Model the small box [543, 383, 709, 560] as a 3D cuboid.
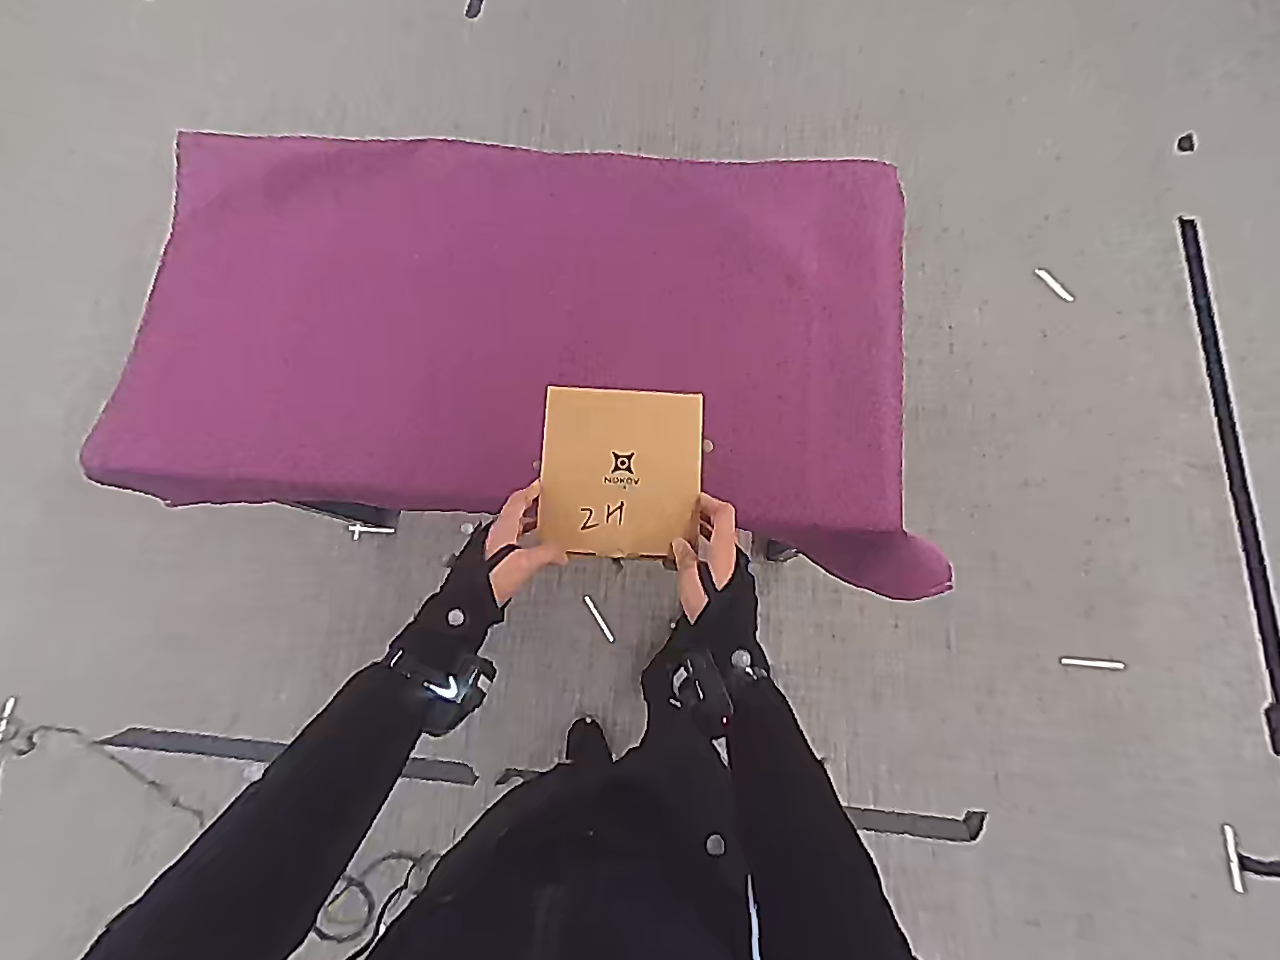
[{"bbox_3d":[-0.015,0.000,0.640,0.168,0.176,0.179,3,81,-1],"label":"small box"}]
